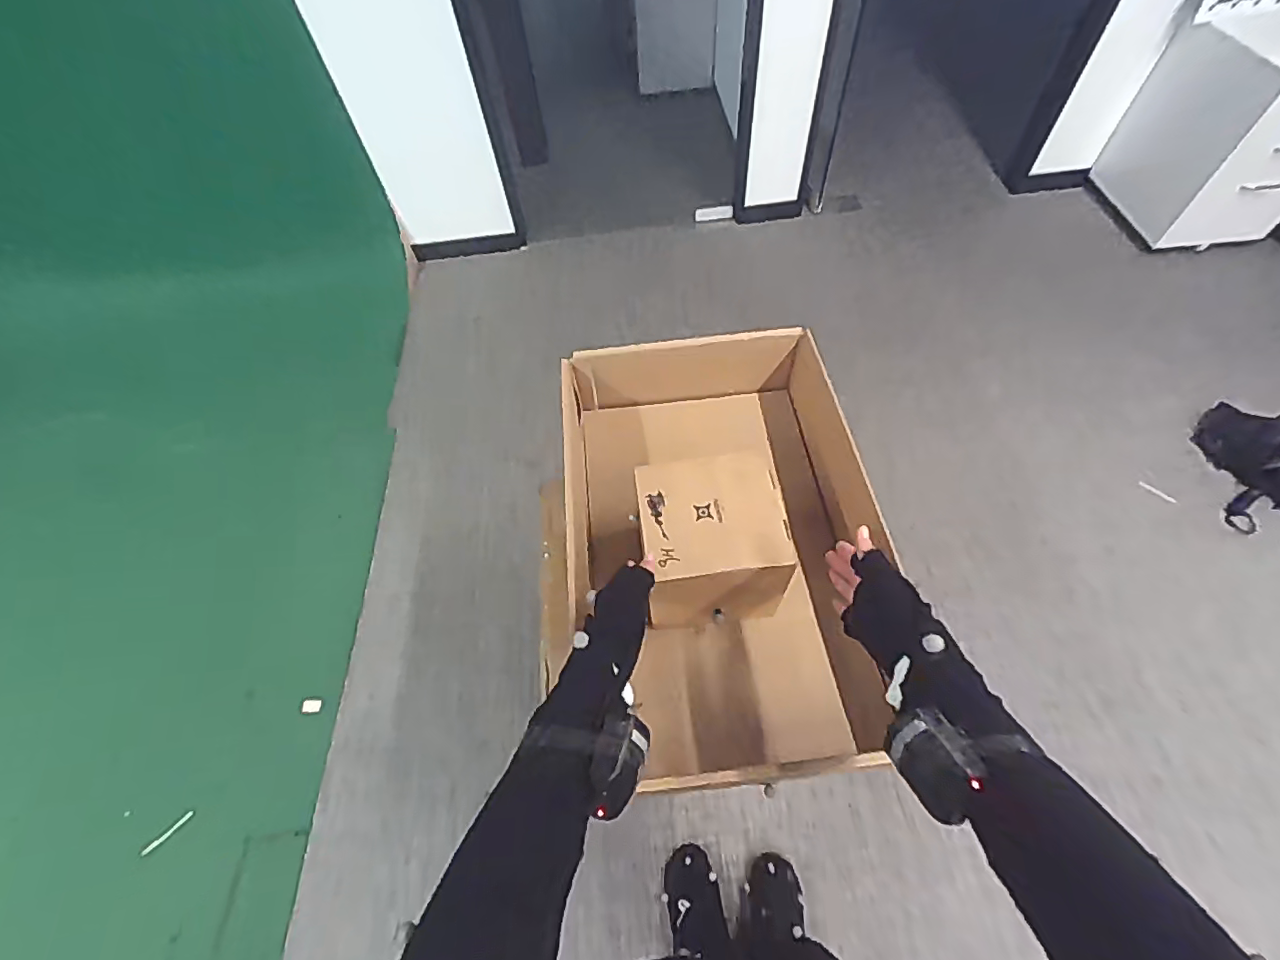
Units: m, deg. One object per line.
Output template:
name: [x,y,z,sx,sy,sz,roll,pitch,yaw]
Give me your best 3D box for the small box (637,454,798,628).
small box: [0.091,0.087,0.728,0.179,0.176,0.168,-7,55,-1]
